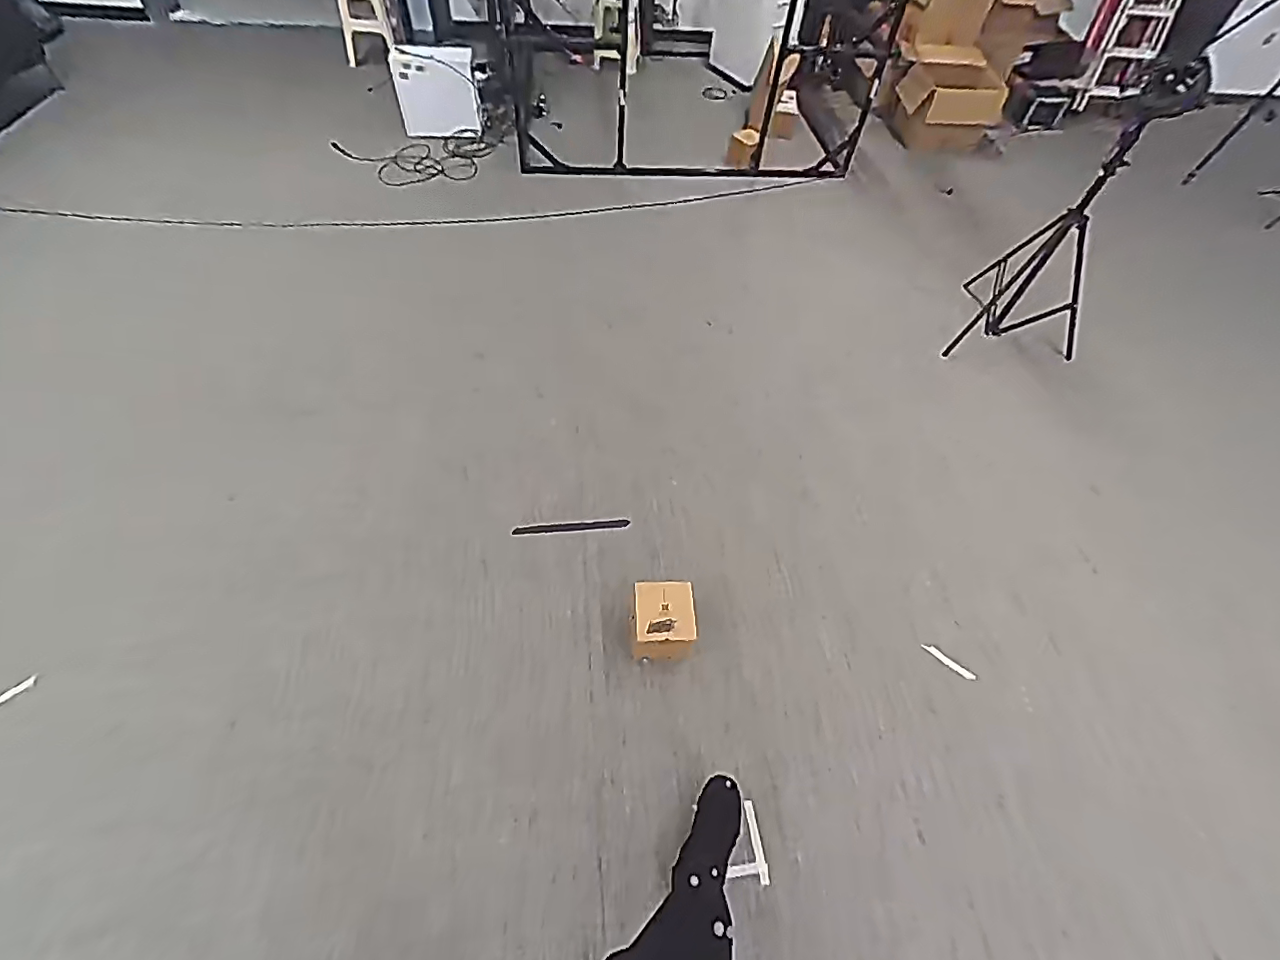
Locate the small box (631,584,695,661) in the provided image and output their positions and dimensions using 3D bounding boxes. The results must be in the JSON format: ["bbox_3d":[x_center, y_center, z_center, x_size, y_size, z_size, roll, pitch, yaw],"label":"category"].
[{"bbox_3d":[0.062,0.416,1.560,0.168,0.176,0.179,1,54,-5],"label":"small box"}]
